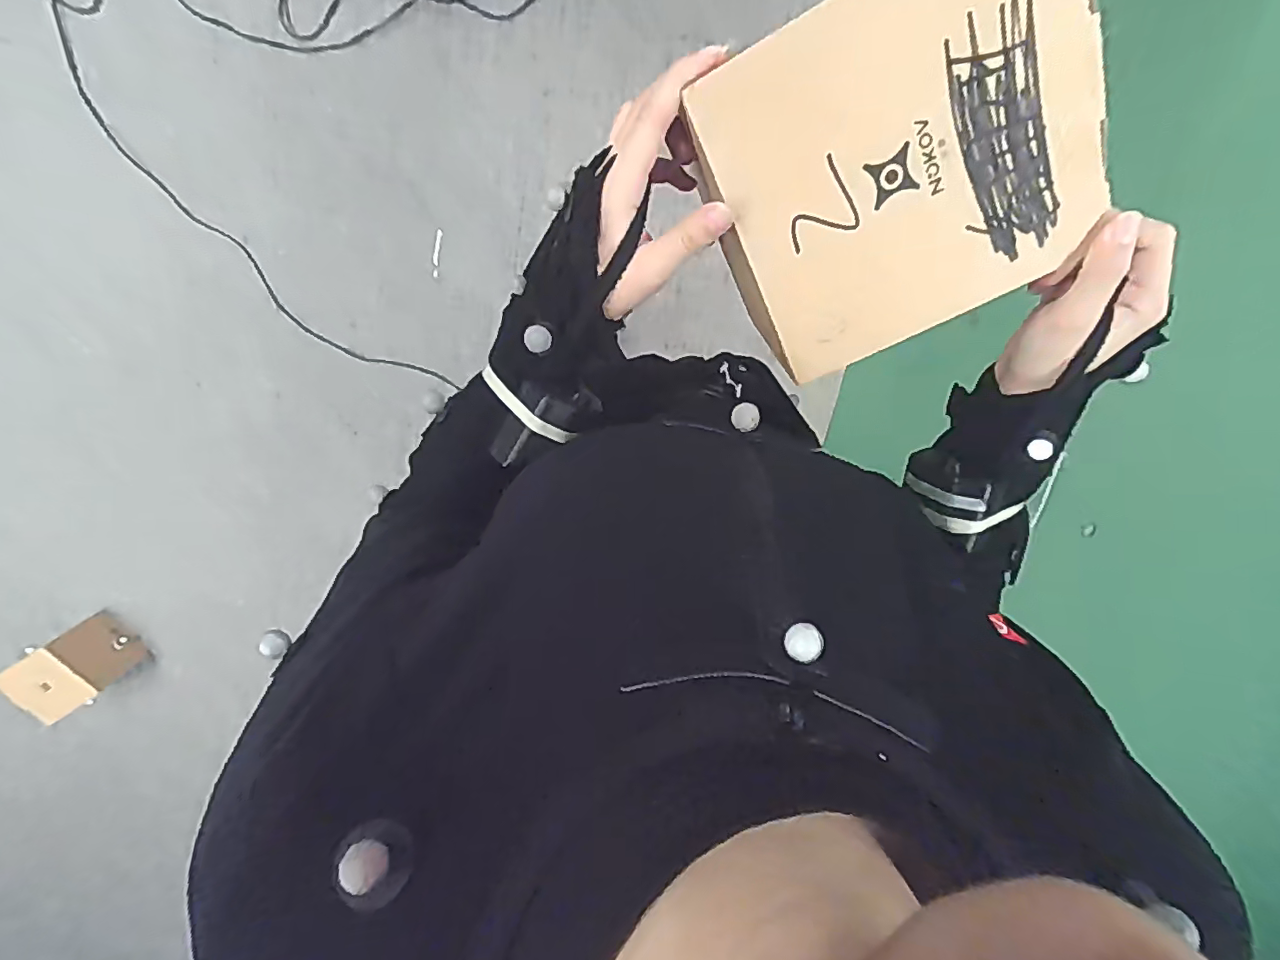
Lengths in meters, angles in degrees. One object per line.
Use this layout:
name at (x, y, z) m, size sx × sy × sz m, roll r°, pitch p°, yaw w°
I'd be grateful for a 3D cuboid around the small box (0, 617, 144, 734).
small box at (-1.414, 0.480, 1.345) m, size 0.179 × 0.176 × 0.168 m, roll -32°, pitch 108°, yaw 5°
